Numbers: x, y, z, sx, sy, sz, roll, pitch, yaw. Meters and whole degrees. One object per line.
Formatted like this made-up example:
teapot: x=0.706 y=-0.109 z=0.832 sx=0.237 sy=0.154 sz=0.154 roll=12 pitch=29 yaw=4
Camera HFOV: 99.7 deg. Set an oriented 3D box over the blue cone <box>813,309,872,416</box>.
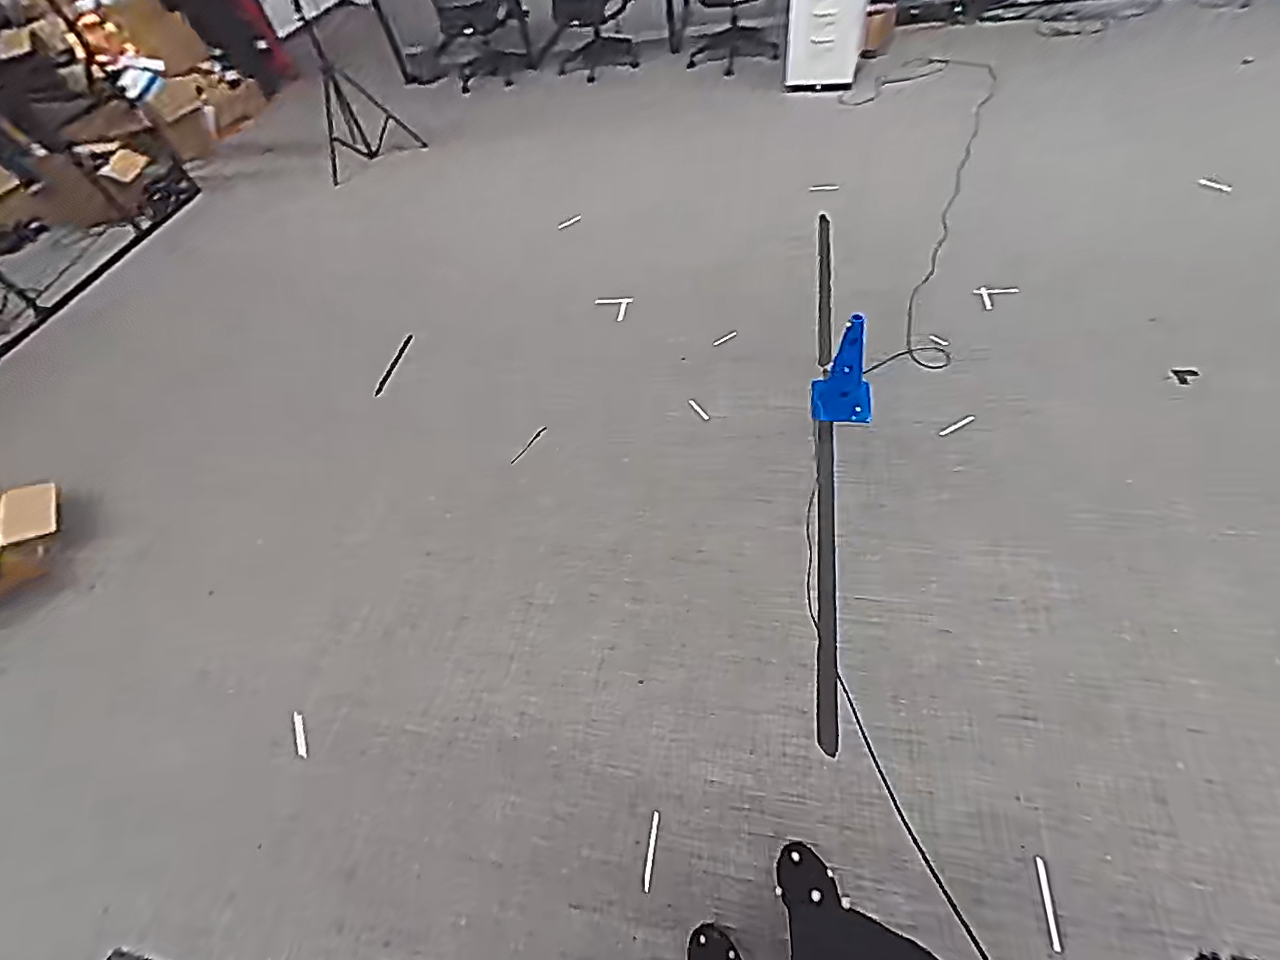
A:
blue cone: x=0.685 y=-0.396 z=1.765 sx=0.193 sy=0.380 sz=0.192 roll=3 pitch=54 yaw=11
